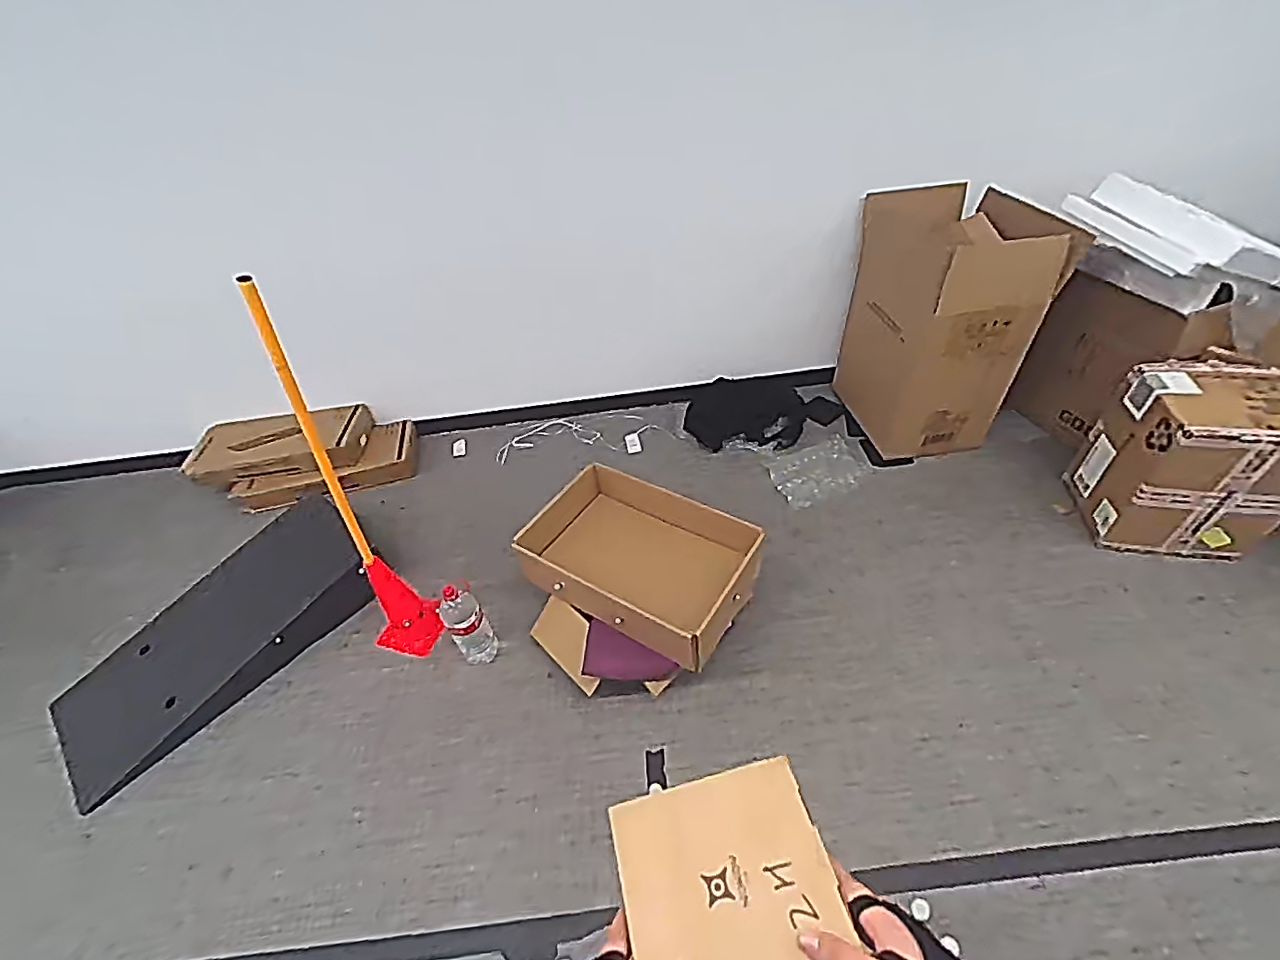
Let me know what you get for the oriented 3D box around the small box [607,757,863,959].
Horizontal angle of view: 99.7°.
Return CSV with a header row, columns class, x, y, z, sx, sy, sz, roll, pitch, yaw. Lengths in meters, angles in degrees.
class,x,y,z,sx,sy,sz,roll,pitch,yaw
small box,0.079,0.391,0.504,0.179,0.176,0.168,-14,46,-5
